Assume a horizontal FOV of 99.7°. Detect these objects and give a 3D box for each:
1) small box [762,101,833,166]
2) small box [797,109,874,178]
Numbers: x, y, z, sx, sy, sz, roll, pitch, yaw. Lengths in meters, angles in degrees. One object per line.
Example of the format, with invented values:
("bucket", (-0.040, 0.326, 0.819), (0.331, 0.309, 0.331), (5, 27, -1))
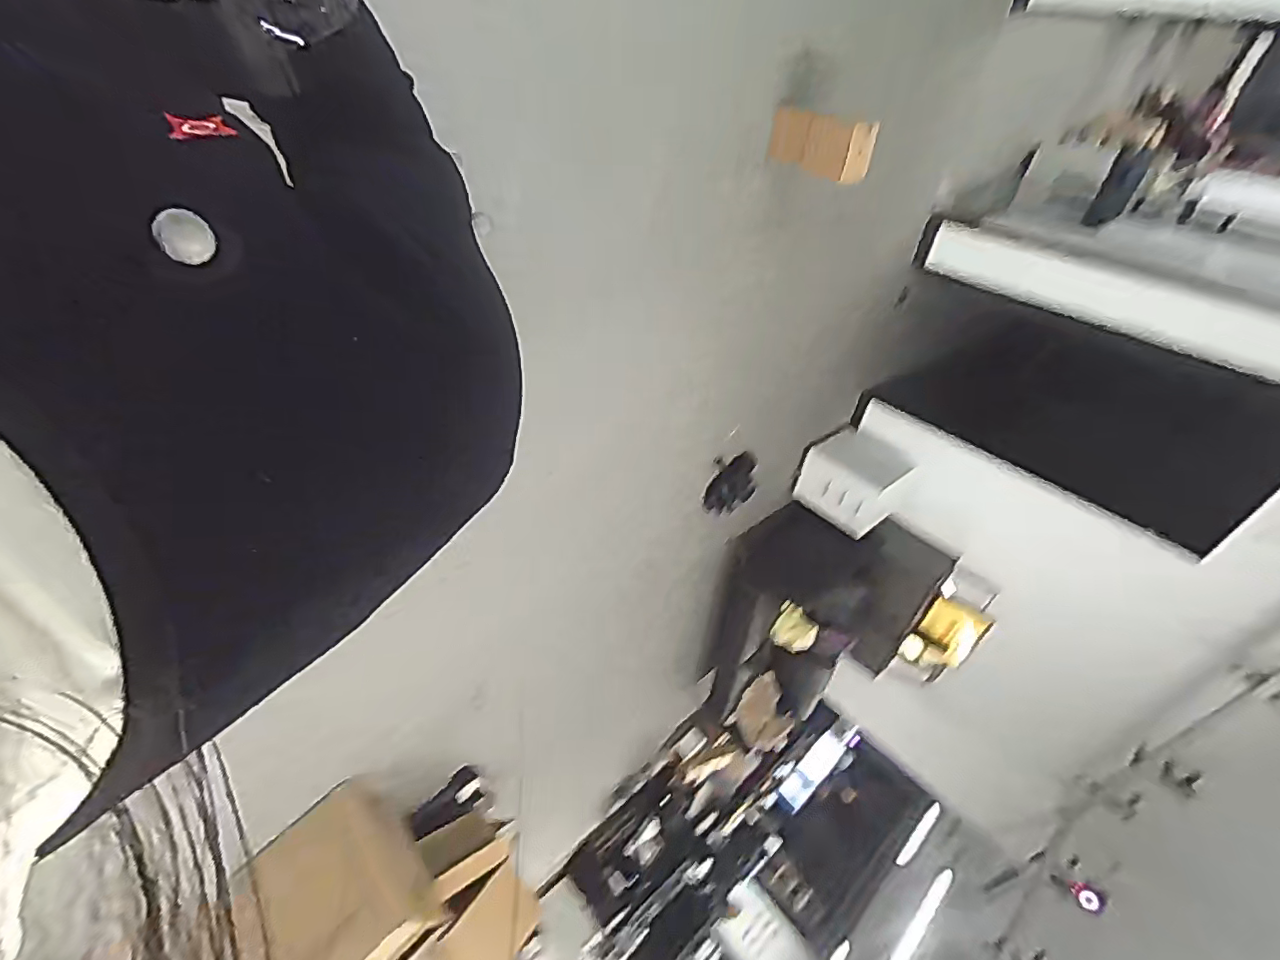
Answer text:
("small box", (0.568, -1.268, 1.974), (0.168, 0.176, 0.179), (-28, 139, -34))
("small box", (0.674, -1.177, 1.888), (0.168, 0.176, 0.179), (-28, 141, -33))
